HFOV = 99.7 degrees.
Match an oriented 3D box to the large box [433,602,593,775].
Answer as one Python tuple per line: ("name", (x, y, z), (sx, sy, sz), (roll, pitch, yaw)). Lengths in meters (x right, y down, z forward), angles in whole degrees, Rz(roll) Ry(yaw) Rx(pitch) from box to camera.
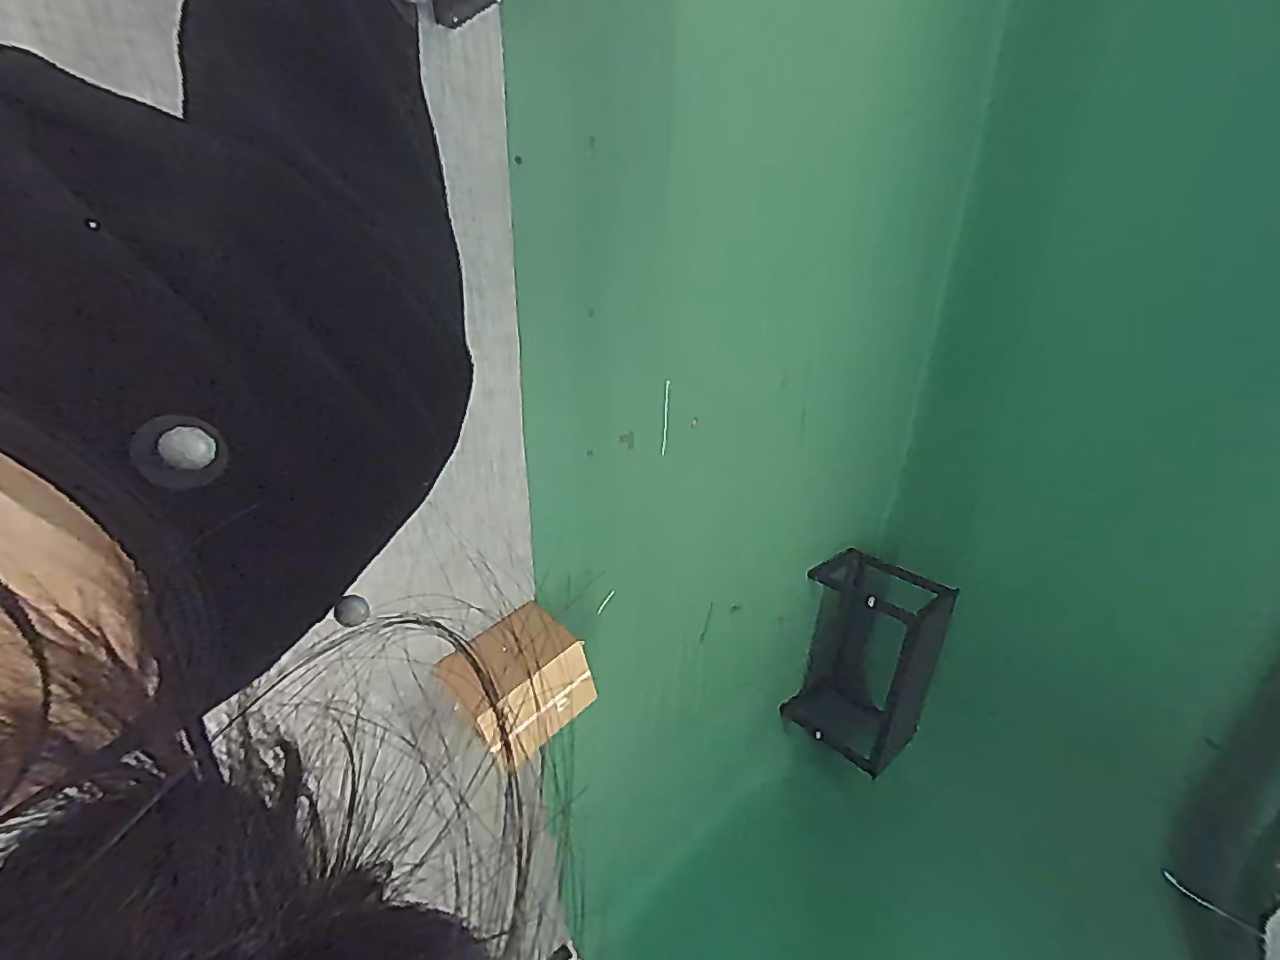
("large box", (-0.437, 0.712, 1.898), (0.408, 0.320, 0.320), (-32, 128, -32))
